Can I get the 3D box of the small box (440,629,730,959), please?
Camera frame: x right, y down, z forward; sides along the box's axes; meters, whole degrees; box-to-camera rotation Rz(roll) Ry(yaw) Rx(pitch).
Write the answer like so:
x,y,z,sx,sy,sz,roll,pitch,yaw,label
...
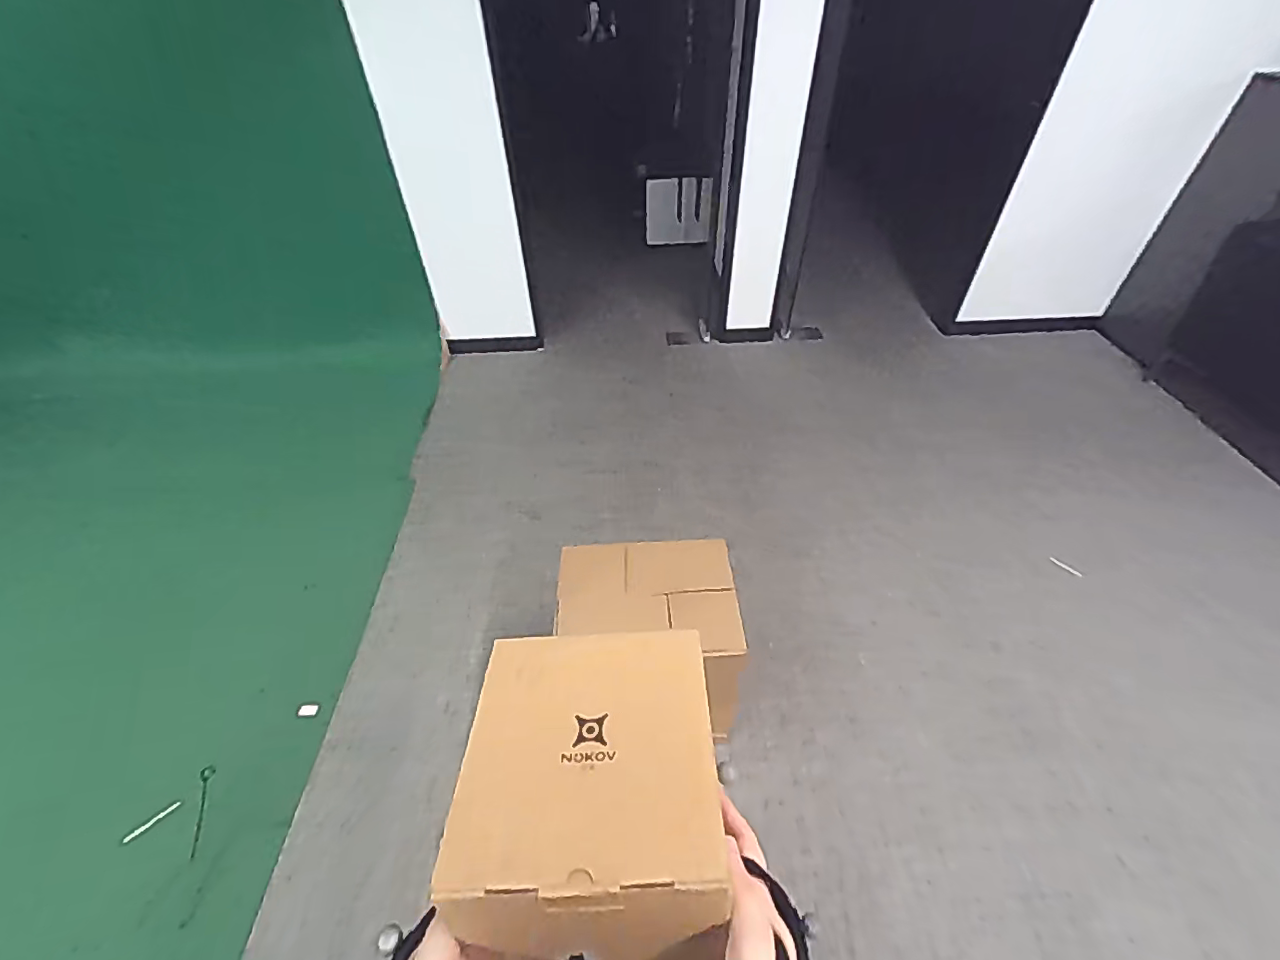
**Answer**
x,y,z,sx,sy,sz,roll,pitch,yaw,label
-0.027,0.236,0.411,0.168,0.176,0.179,-2,35,2,small box
